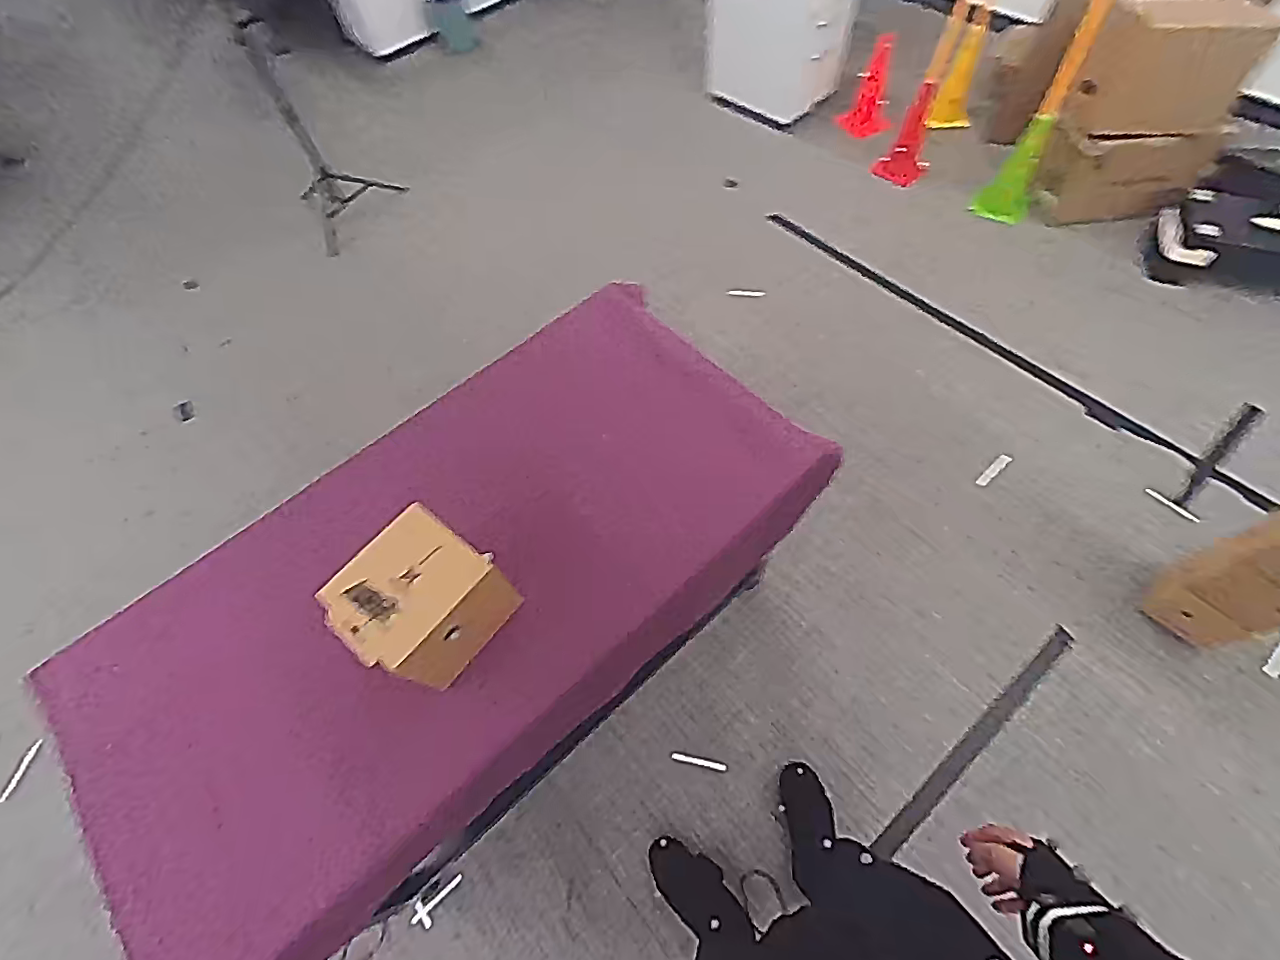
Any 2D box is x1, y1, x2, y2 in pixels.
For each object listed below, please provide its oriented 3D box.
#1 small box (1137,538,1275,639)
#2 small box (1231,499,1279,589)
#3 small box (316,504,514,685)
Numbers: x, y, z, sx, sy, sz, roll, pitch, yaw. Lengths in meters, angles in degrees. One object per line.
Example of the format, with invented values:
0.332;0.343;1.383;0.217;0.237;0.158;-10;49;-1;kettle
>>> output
1.468;0.290;1.414;0.168;0.176;0.179;40;72;22;small box
1.422;0.126;1.130;0.179;0.176;0.168;-38;66;-14;small box
-0.312;0.174;0.790;0.168;0.176;0.179;33;69;19;small box
